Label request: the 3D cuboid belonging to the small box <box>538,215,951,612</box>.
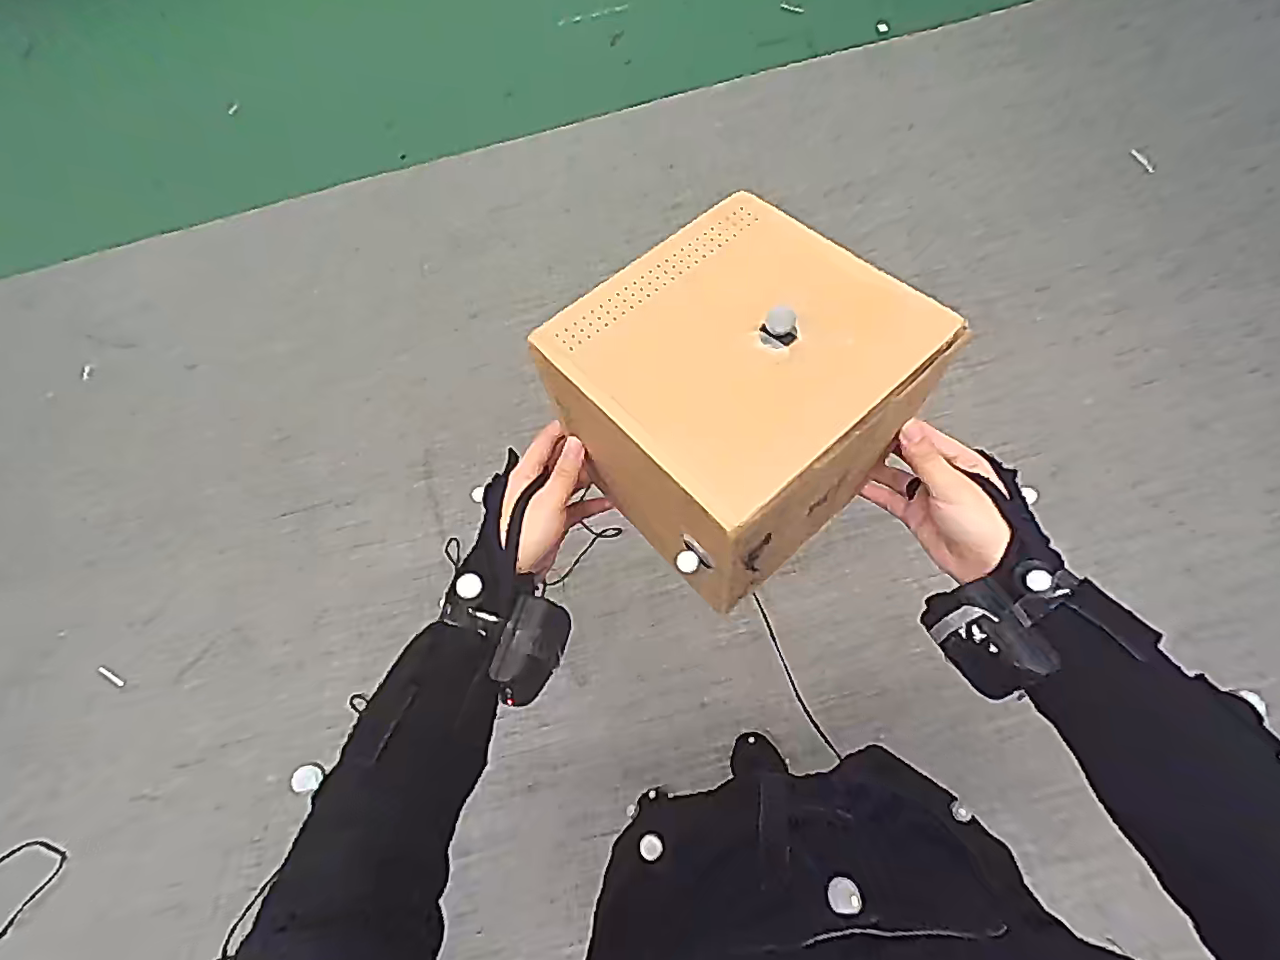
[{"bbox_3d":[0.060,-0.045,0.376,0.179,0.168,0.176,-39,65,-13],"label":"small box"}]
